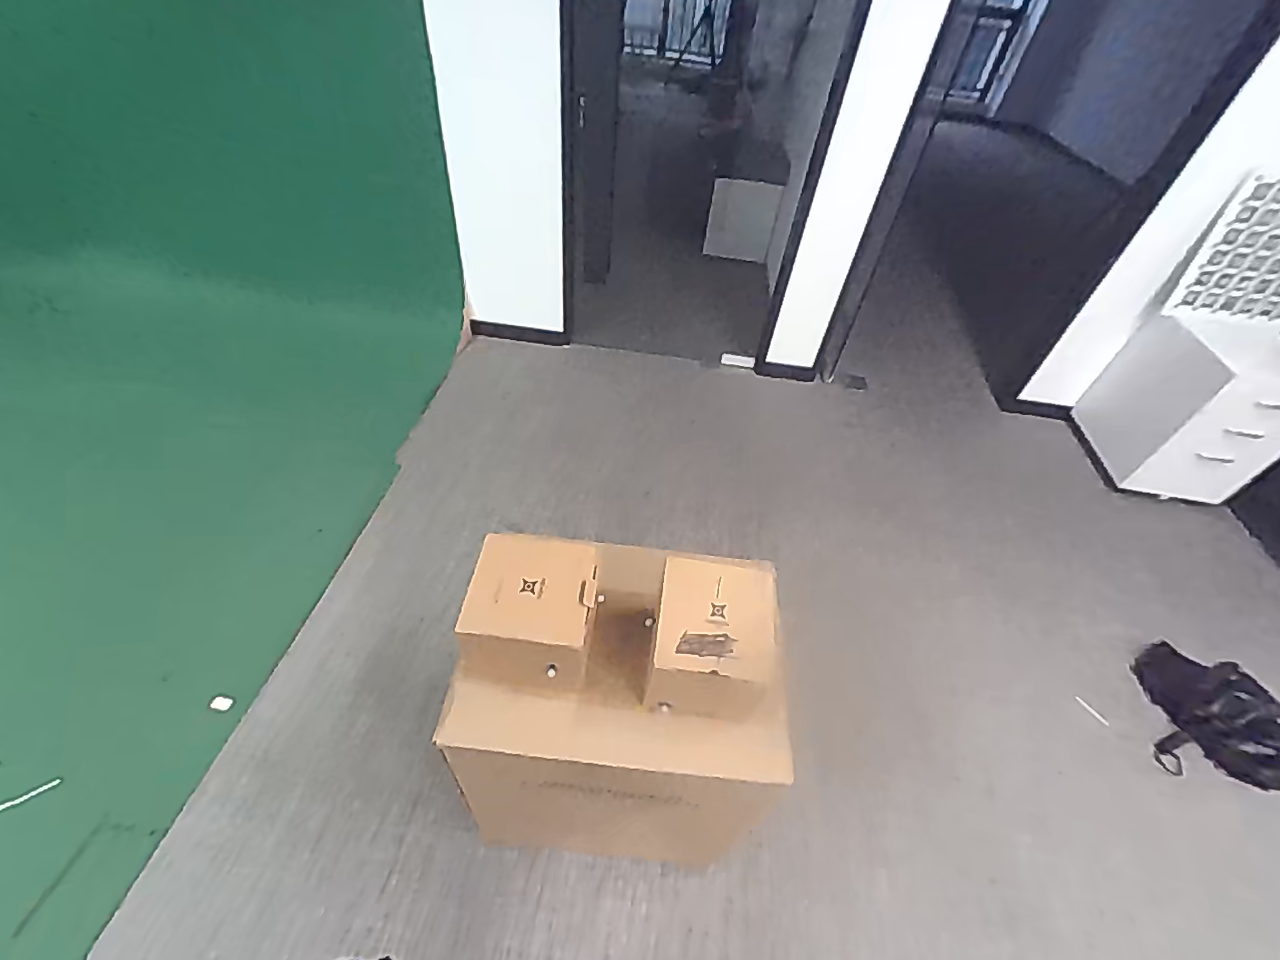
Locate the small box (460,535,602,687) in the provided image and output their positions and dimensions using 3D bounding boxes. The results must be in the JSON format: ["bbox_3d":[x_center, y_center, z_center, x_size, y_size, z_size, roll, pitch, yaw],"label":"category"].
[{"bbox_3d":[-0.156,0.208,0.842,0.179,0.176,0.168,5,48,1],"label":"small box"}]

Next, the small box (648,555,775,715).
[{"bbox_3d":[0.107,0.243,0.832,0.168,0.176,0.179,9,49,2],"label":"small box"}]
